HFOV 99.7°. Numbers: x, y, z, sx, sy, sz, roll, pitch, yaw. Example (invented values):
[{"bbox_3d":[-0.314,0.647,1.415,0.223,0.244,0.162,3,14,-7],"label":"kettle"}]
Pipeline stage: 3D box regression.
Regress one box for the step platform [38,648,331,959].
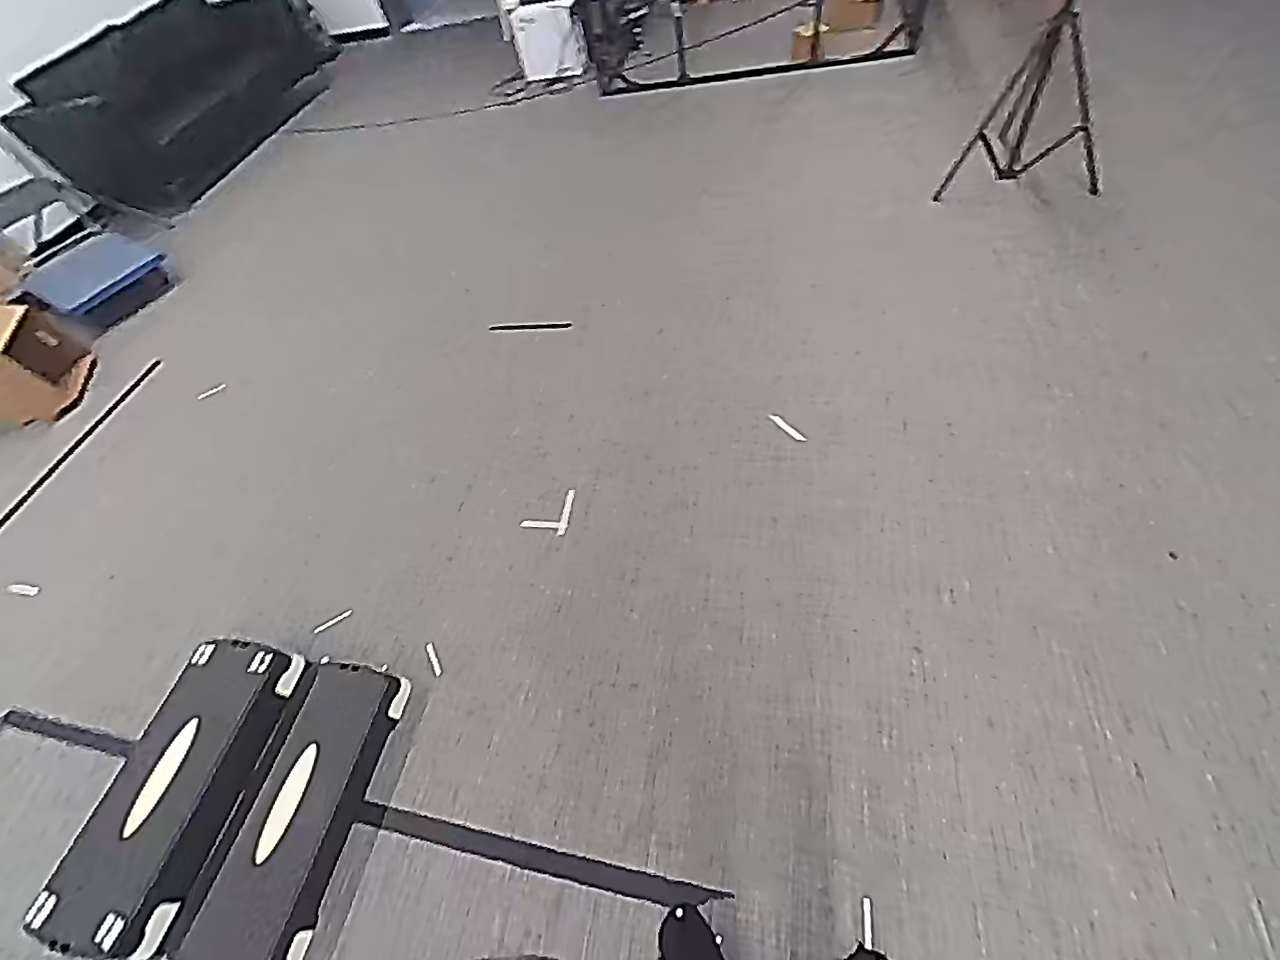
[{"bbox_3d":[-1.098,0.783,1.363,0.286,0.204,0.684,2,54,13],"label":"step platform"}]
